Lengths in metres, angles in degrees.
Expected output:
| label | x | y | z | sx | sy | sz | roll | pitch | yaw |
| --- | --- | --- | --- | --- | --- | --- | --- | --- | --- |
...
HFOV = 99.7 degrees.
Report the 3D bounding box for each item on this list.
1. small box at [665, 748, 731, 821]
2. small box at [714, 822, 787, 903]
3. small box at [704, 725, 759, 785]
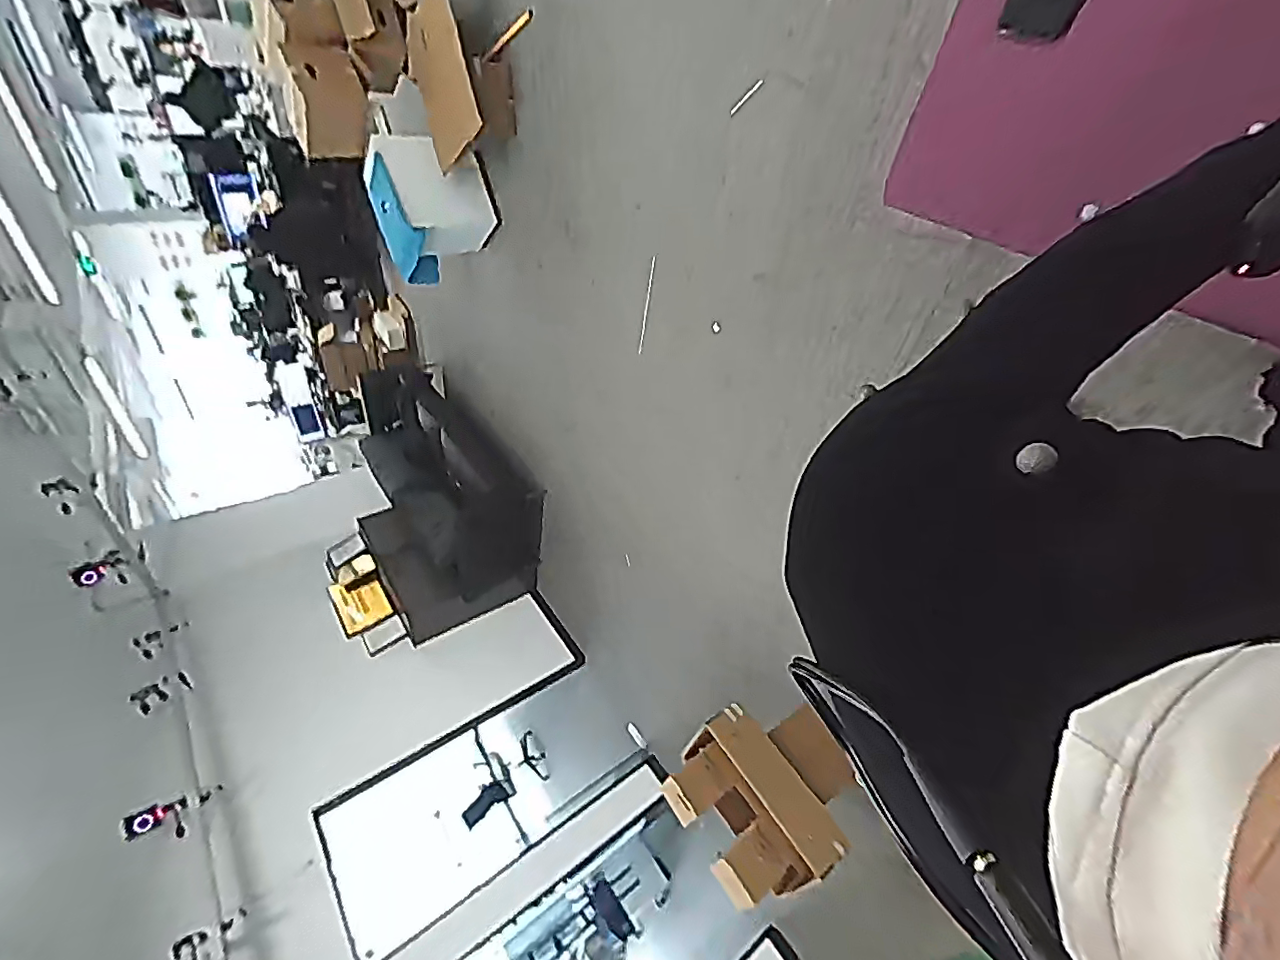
| label | x | y | z | sx | sy | sz | roll | pitch | yaw |
| --- | --- | --- | --- | --- | --- | --- | --- | --- | --- |
| small box | 0.229 | 1.184 | 2.112 | 0.168 | 0.176 | 0.179 | 51 | 143 | 29 |
| small box | 0.403 | 1.386 | 1.962 | 0.168 | 0.176 | 0.179 | 50 | 143 | 27 |
| small box | 0.358 | 1.139 | 2.205 | 0.168 | 0.176 | 0.179 | 50 | 142 | 29 |
